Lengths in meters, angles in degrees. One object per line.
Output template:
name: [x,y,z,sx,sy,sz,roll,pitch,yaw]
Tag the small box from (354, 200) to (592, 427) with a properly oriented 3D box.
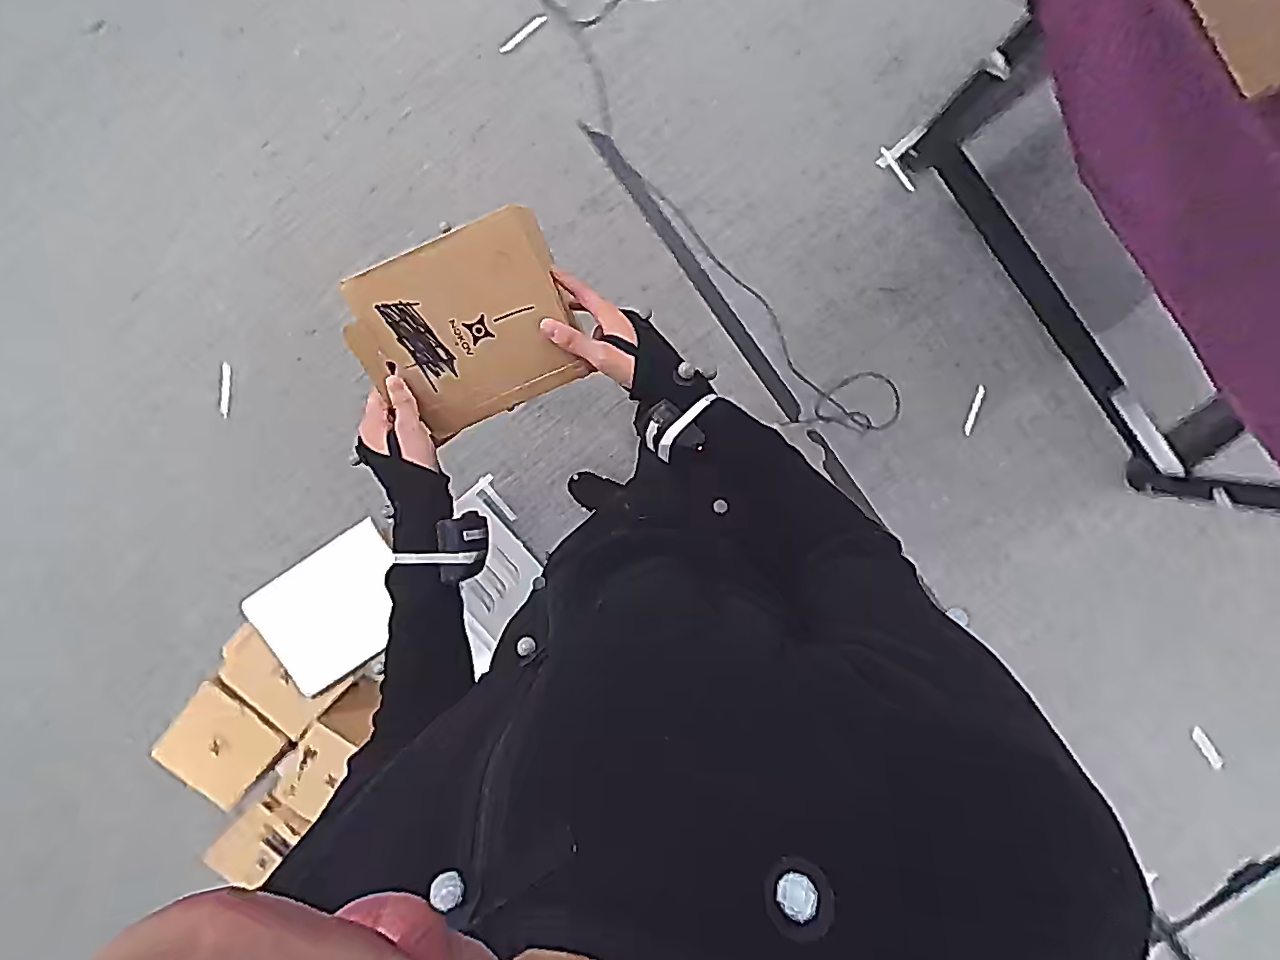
small box: [-0.160,-0.184,0.587,0.179,0.176,0.168,-21,117,4]
